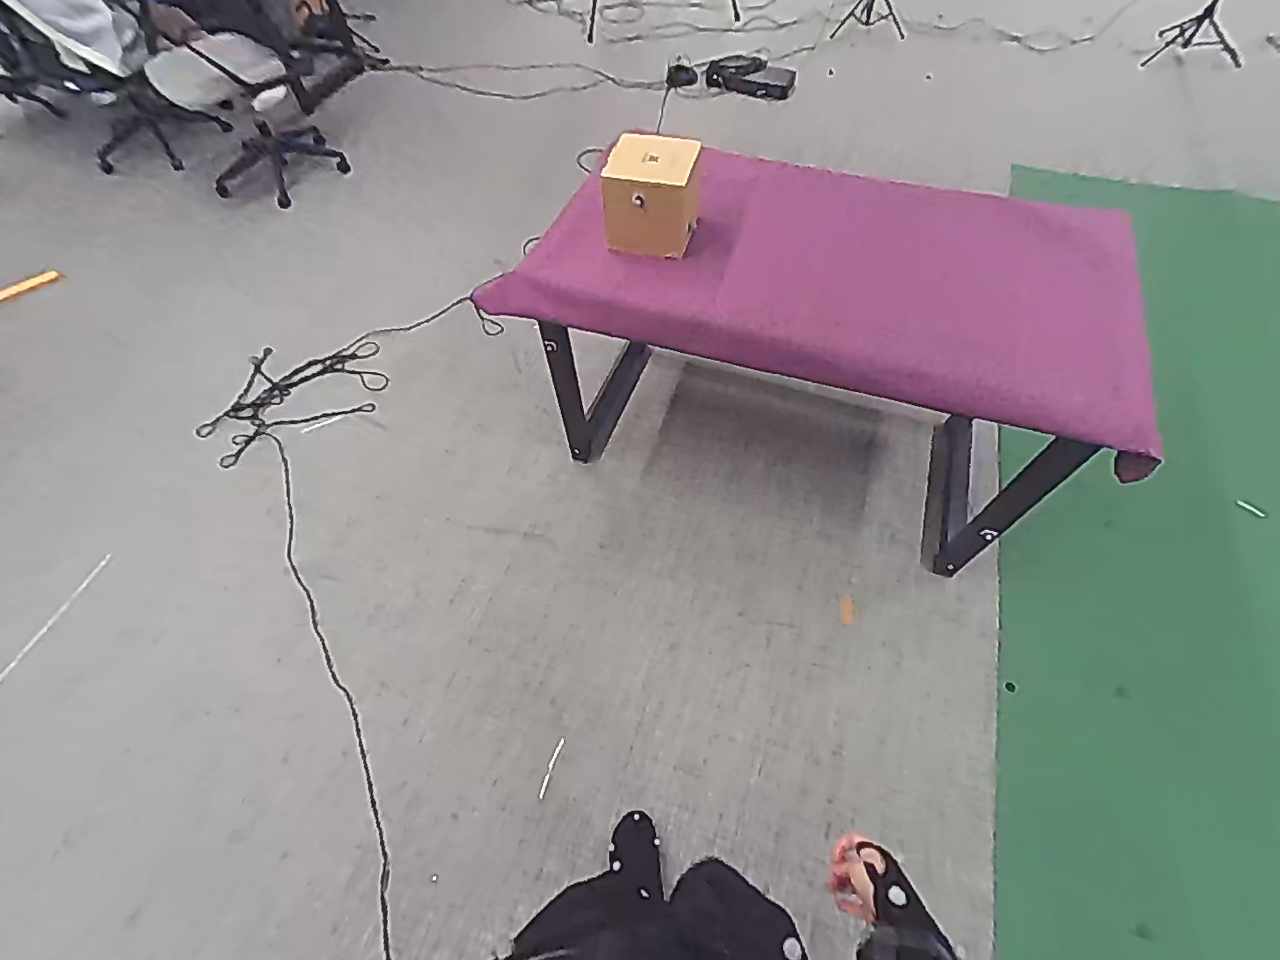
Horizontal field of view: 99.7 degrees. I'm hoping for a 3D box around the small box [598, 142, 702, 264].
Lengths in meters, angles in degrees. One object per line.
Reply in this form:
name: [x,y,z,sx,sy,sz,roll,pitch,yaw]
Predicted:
small box: [0.025,-0.589,1.157,0.179,0.176,0.168,13,60,10]
